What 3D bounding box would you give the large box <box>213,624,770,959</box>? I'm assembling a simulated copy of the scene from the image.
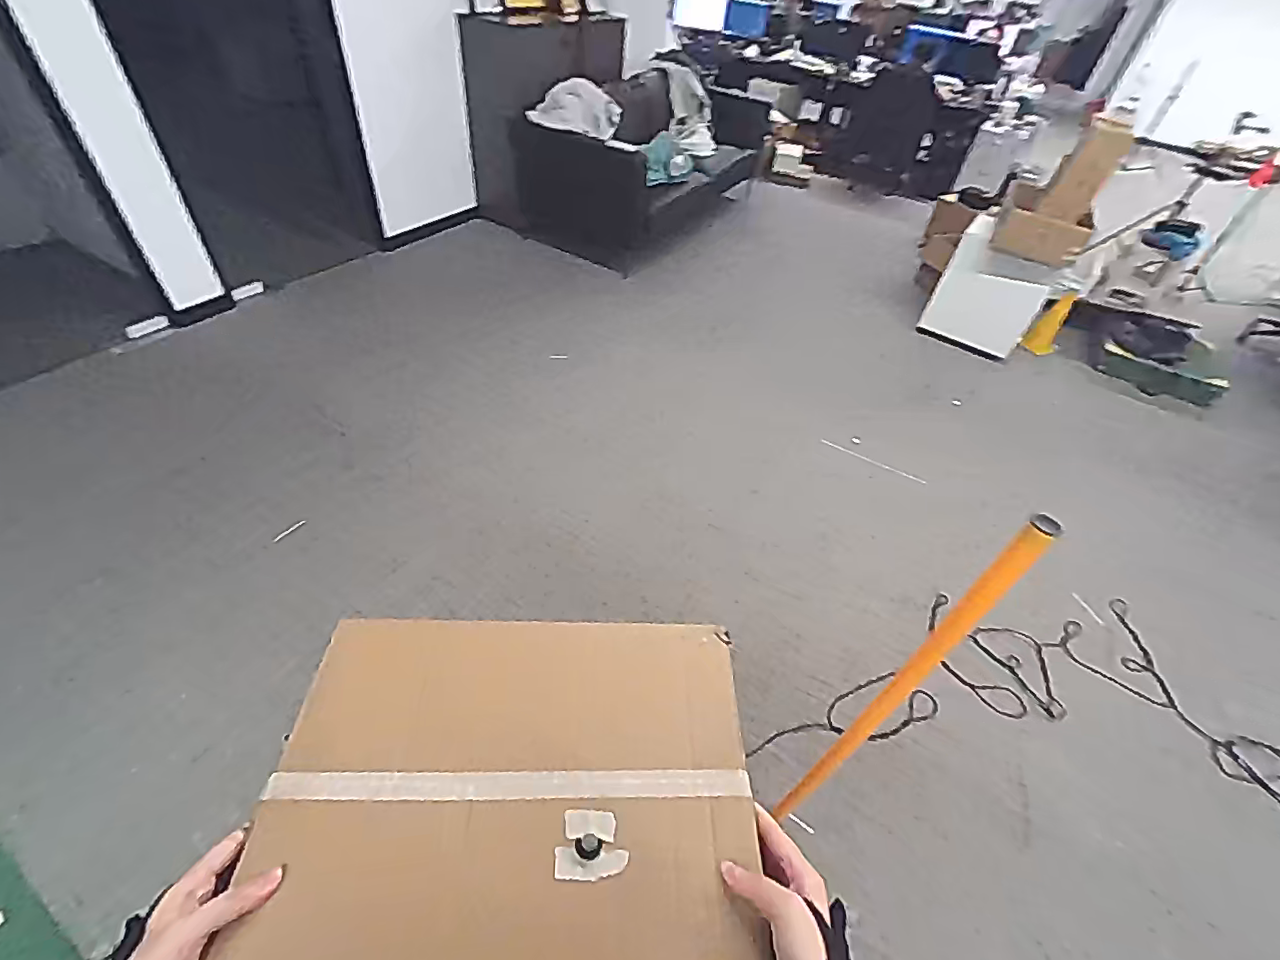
[{"bbox_3d":[-0.120,0.369,0.577,0.408,0.320,0.320,2,45,-5],"label":"large box"}]
